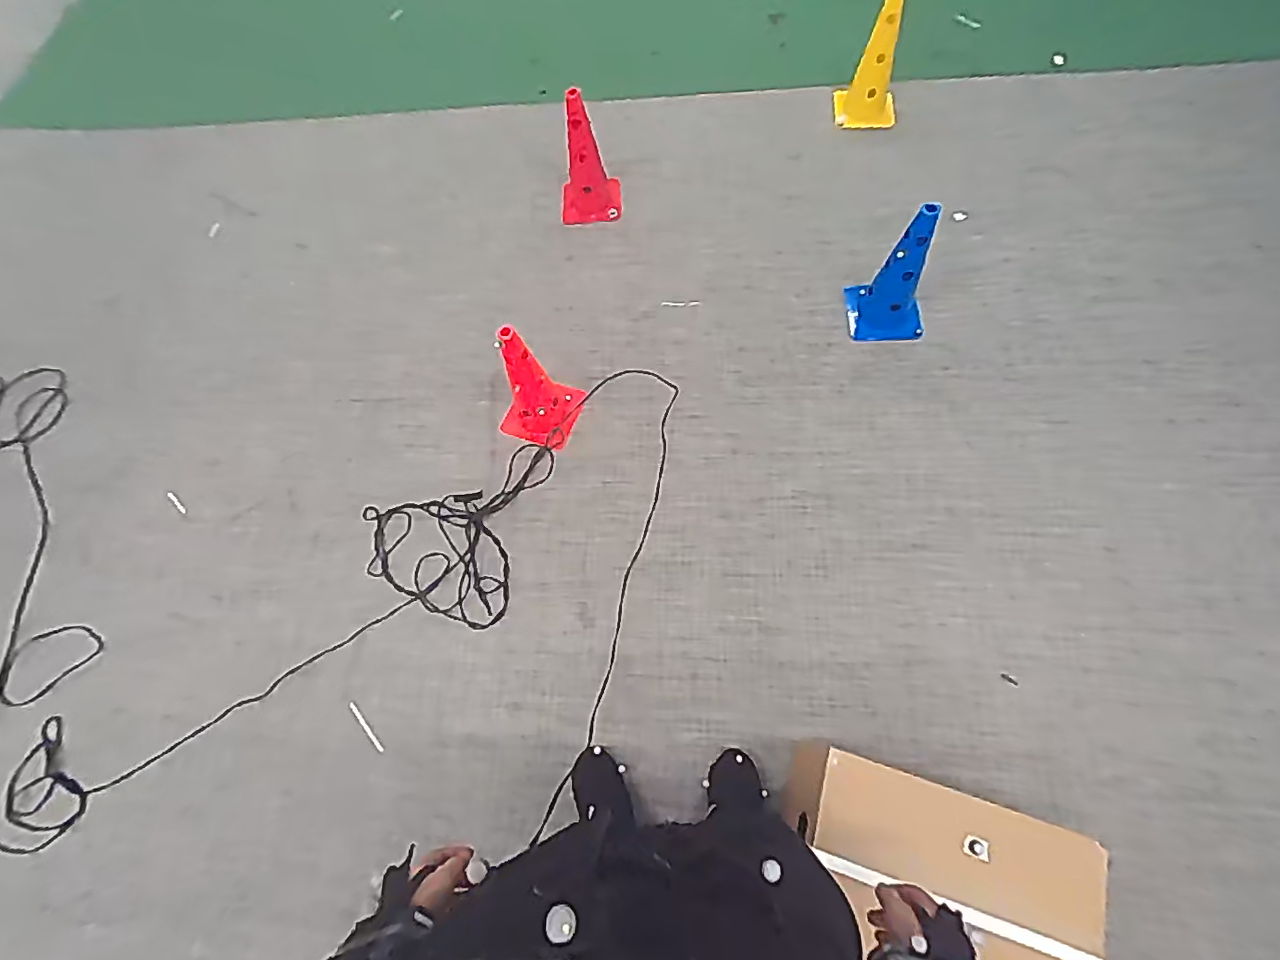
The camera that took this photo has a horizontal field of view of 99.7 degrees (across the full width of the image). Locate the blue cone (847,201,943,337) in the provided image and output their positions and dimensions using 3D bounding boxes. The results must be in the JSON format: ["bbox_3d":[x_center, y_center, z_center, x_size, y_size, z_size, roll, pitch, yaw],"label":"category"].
[{"bbox_3d":[0.690,-0.559,1.419,0.192,0.380,0.193,1,66,6],"label":"blue cone"}]

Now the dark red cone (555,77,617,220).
[{"bbox_3d":[-0.196,-1.032,1.687,0.202,0.394,0.201,-7,62,3],"label":"dark red cone"}]

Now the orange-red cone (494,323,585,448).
[{"bbox_3d":[-0.295,-0.264,1.373,0.199,0.360,0.198,19,68,15],"label":"orange-red cone"}]
